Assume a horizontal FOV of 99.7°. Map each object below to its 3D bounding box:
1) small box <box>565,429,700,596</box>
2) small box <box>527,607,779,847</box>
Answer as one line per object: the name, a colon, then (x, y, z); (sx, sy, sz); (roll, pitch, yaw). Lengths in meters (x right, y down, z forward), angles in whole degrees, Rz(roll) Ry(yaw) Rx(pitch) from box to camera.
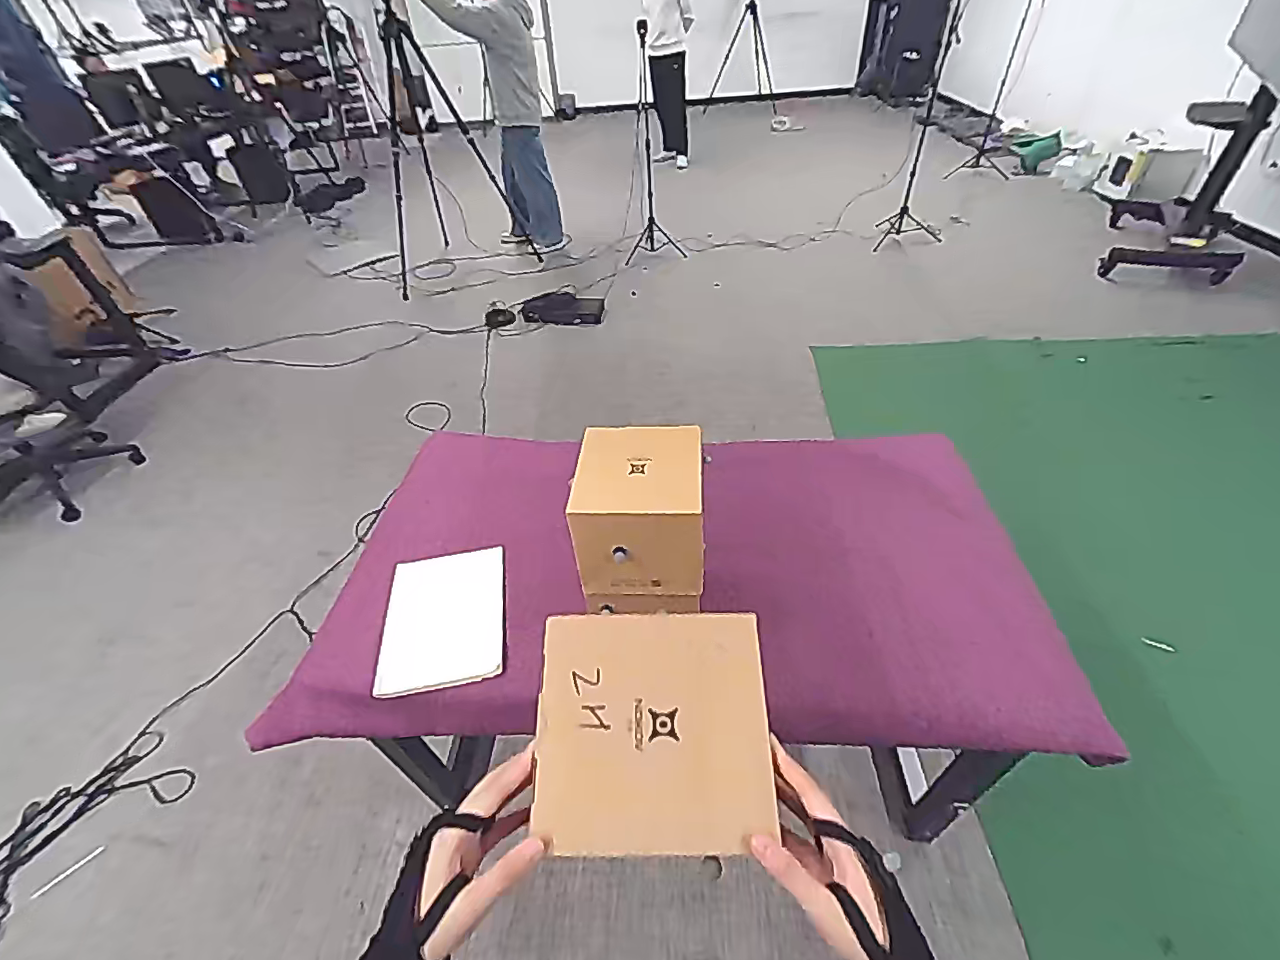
small box: (0.001, 0.047, 0.759); (0.168, 0.176, 0.179); (0, 41, 5)
small box: (0.010, 0.217, 0.477); (0.179, 0.176, 0.168); (0, 59, 1)
